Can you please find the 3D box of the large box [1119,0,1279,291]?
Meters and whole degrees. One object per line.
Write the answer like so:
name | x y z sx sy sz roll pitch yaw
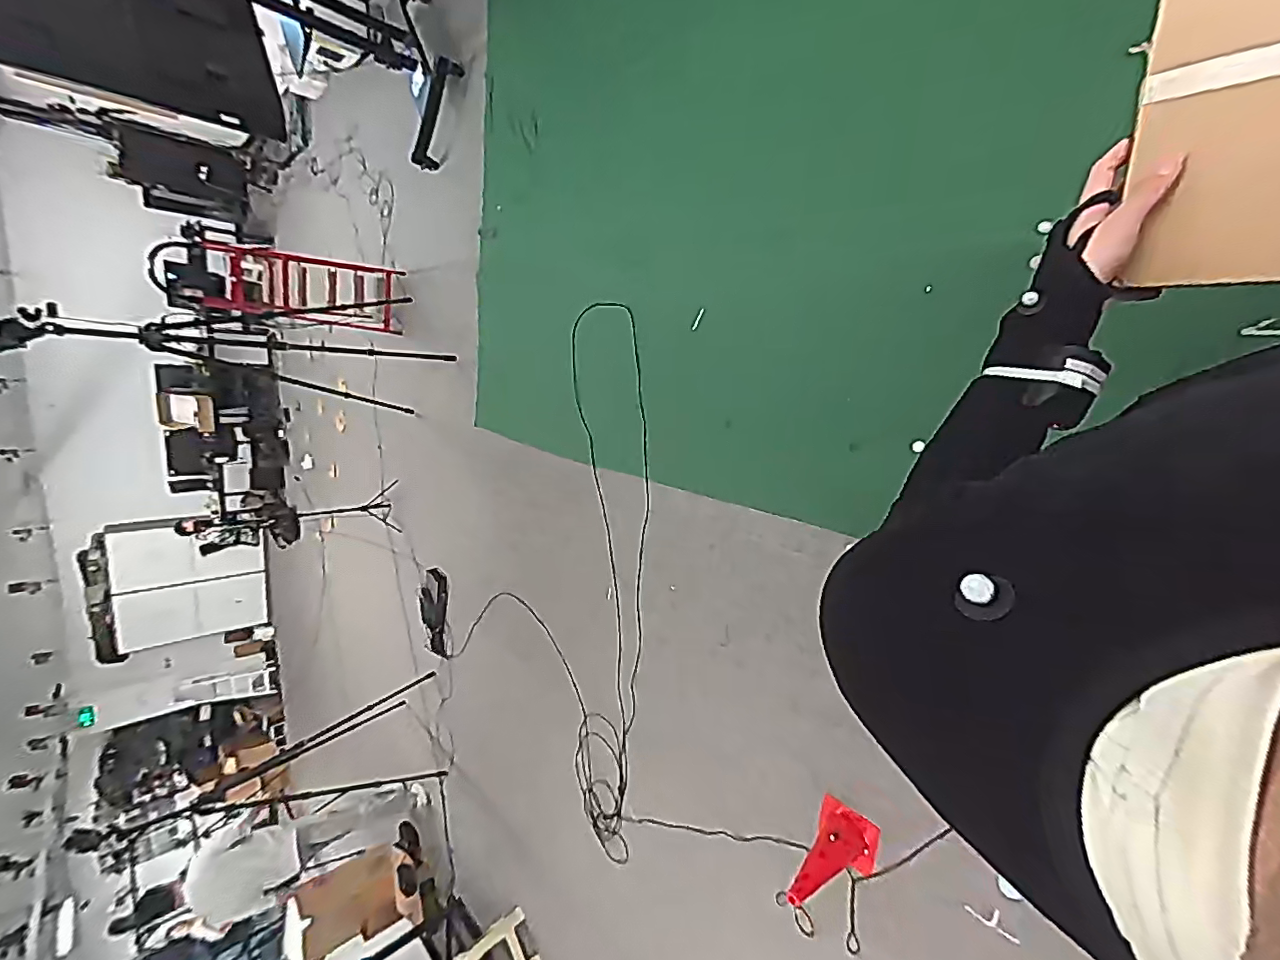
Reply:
large box | 0.675 -0.325 0.418 0.408 0.320 0.320 14 115 44
